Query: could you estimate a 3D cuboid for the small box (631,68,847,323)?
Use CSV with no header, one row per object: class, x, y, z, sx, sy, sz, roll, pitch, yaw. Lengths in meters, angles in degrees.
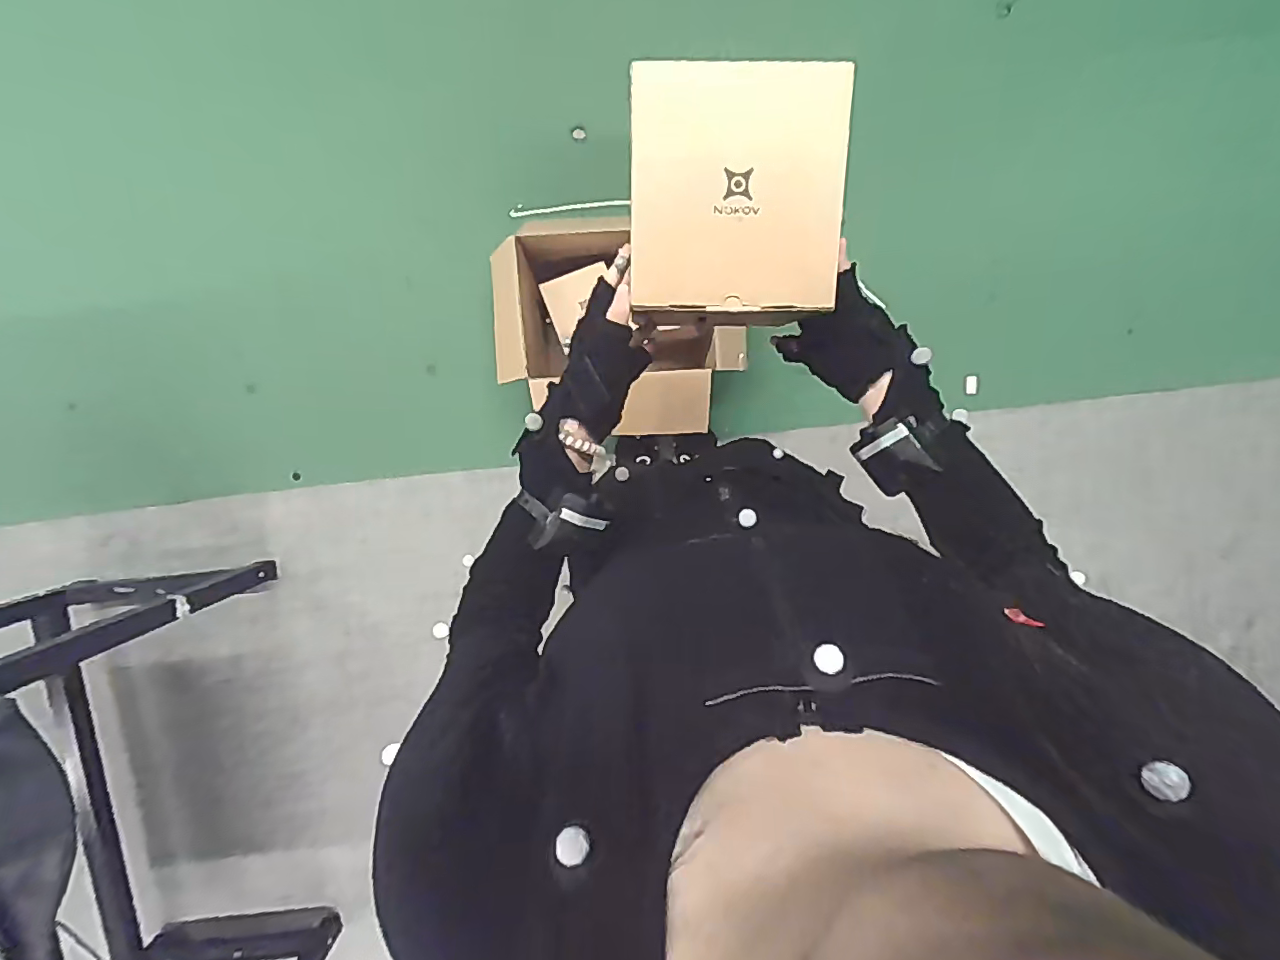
small box,0.075,-0.244,0.506,0.168,0.176,0.179,0,103,0
